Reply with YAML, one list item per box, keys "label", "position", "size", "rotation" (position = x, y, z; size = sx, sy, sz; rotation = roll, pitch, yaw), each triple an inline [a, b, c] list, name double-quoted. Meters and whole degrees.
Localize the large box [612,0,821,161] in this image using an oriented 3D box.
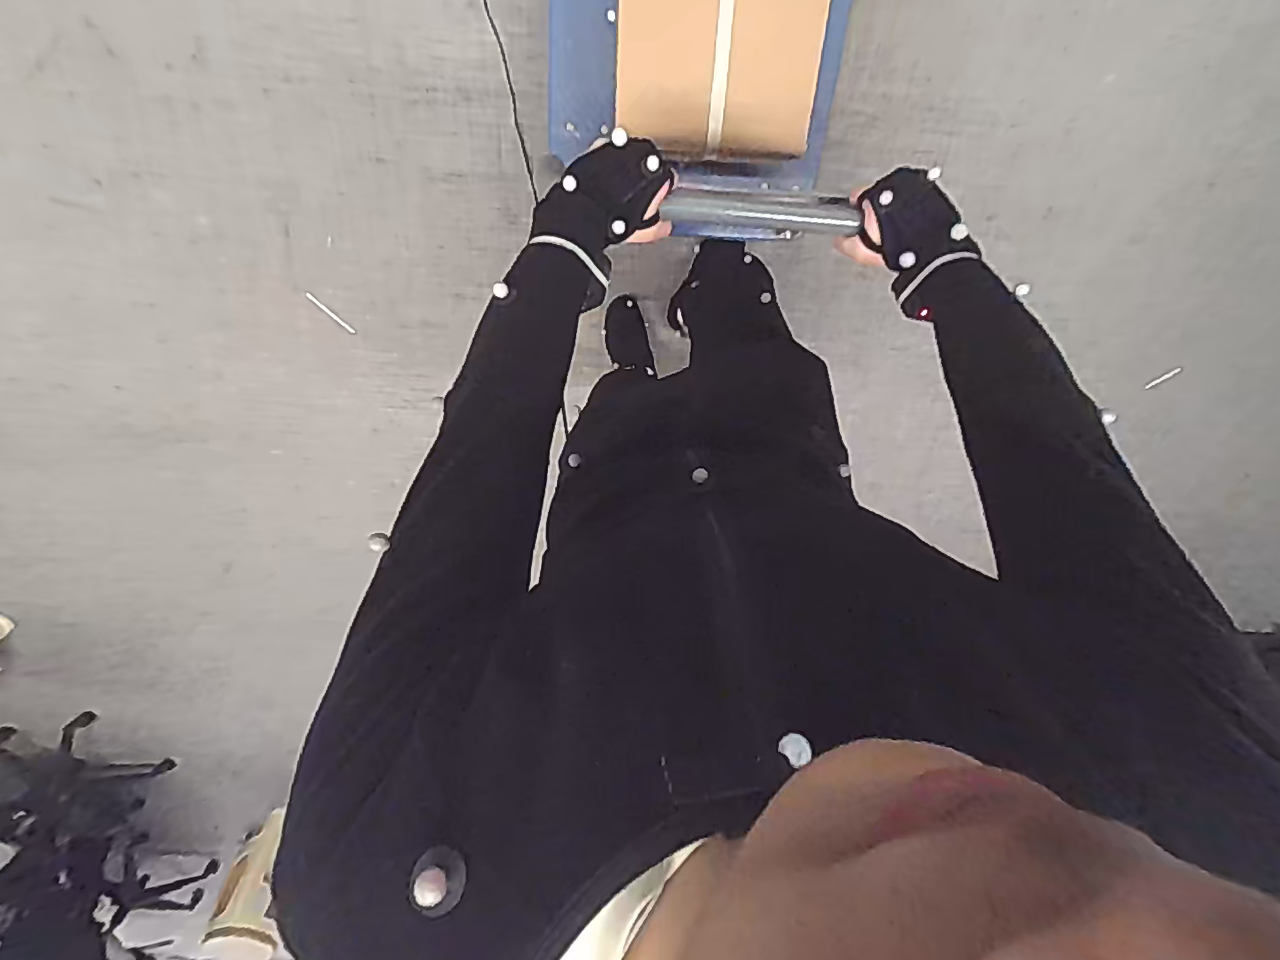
- label: "large box"
  position: [0.113, -0.784, 0.924]
  size: [0.320, 0.320, 0.408]
  rotation: [1, 119, -3]
